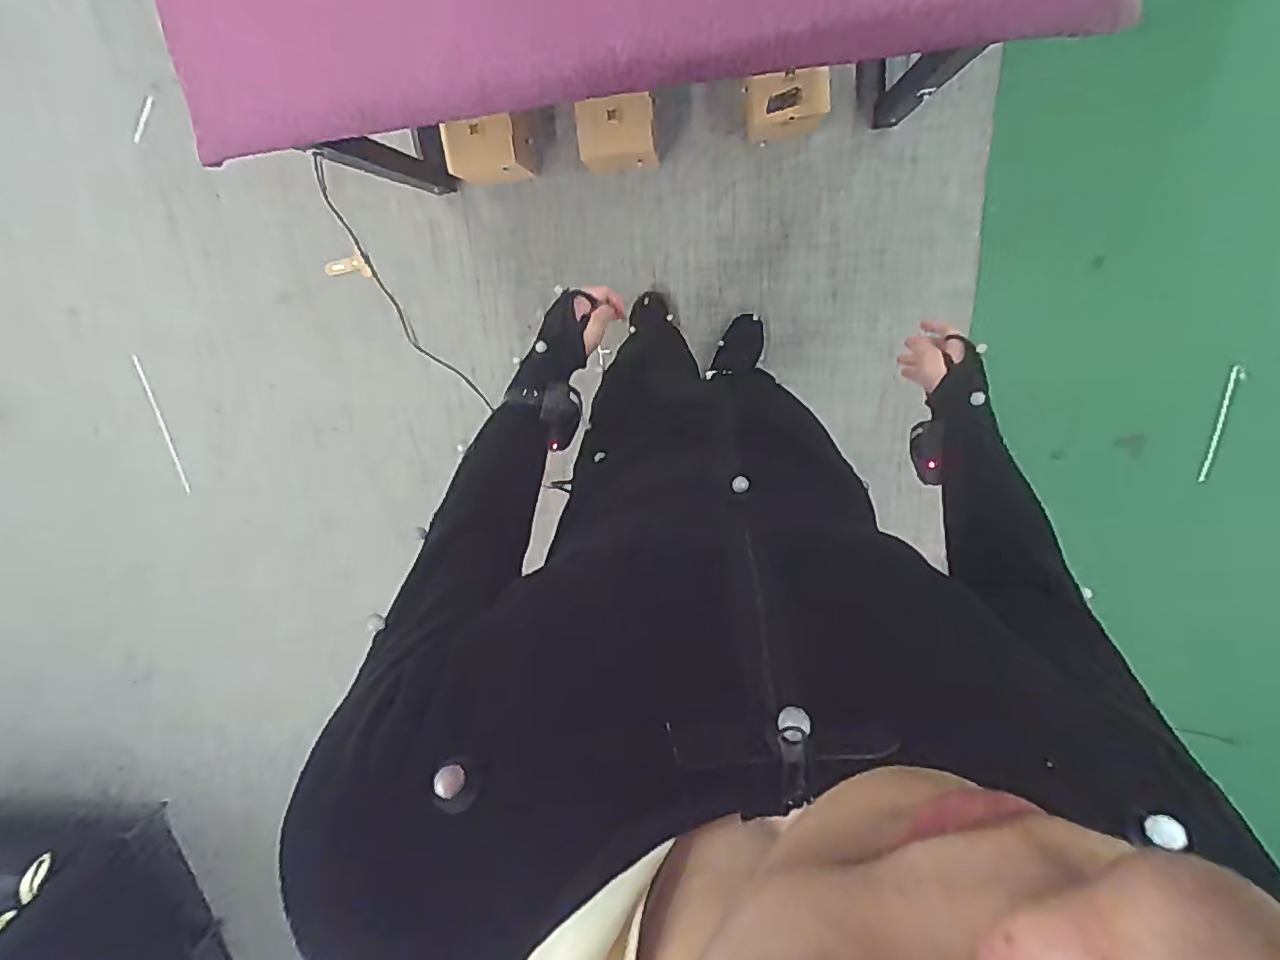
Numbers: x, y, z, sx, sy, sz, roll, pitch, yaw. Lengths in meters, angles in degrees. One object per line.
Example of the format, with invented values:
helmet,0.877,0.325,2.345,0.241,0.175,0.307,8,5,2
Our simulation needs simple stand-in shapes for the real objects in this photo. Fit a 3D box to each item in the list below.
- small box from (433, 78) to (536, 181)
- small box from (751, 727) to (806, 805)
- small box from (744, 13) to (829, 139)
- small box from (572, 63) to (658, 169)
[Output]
small box,-0.373,-0.850,1.328,0.179,0.176,0.168,-3,109,8
small box,0.476,0.989,1.882,0.168,0.176,0.179,0,110,8
small box,0.325,-0.892,1.216,0.168,0.176,0.179,-6,108,9
small box,-0.051,-0.852,1.282,0.179,0.176,0.168,-2,109,9
